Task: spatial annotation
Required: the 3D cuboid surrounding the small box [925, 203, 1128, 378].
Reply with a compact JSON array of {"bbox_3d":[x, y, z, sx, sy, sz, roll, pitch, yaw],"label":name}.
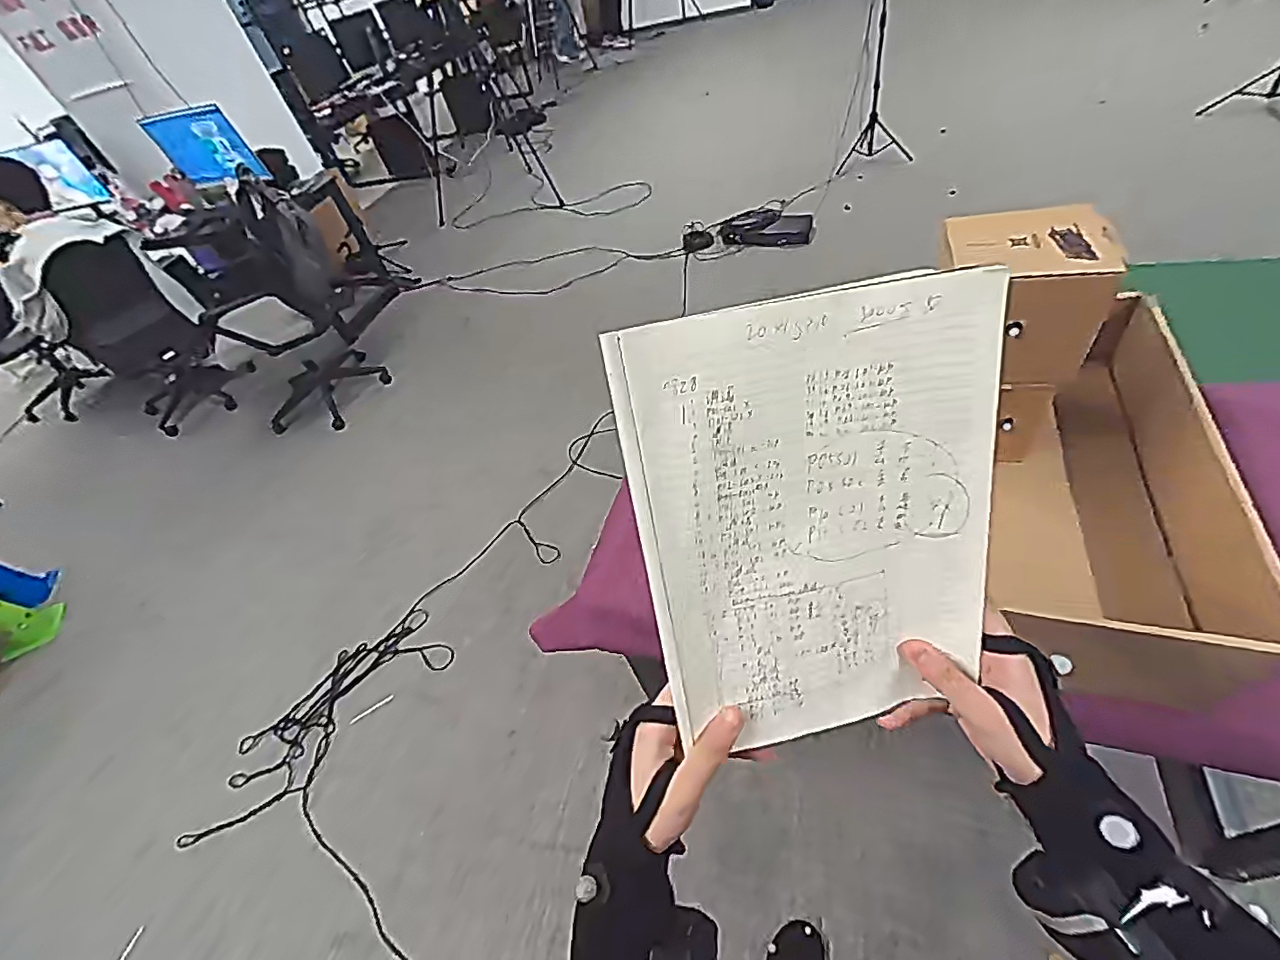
[{"bbox_3d":[0.513,-0.255,0.750,0.179,0.176,0.168,3,51,18],"label":"small box"}]
